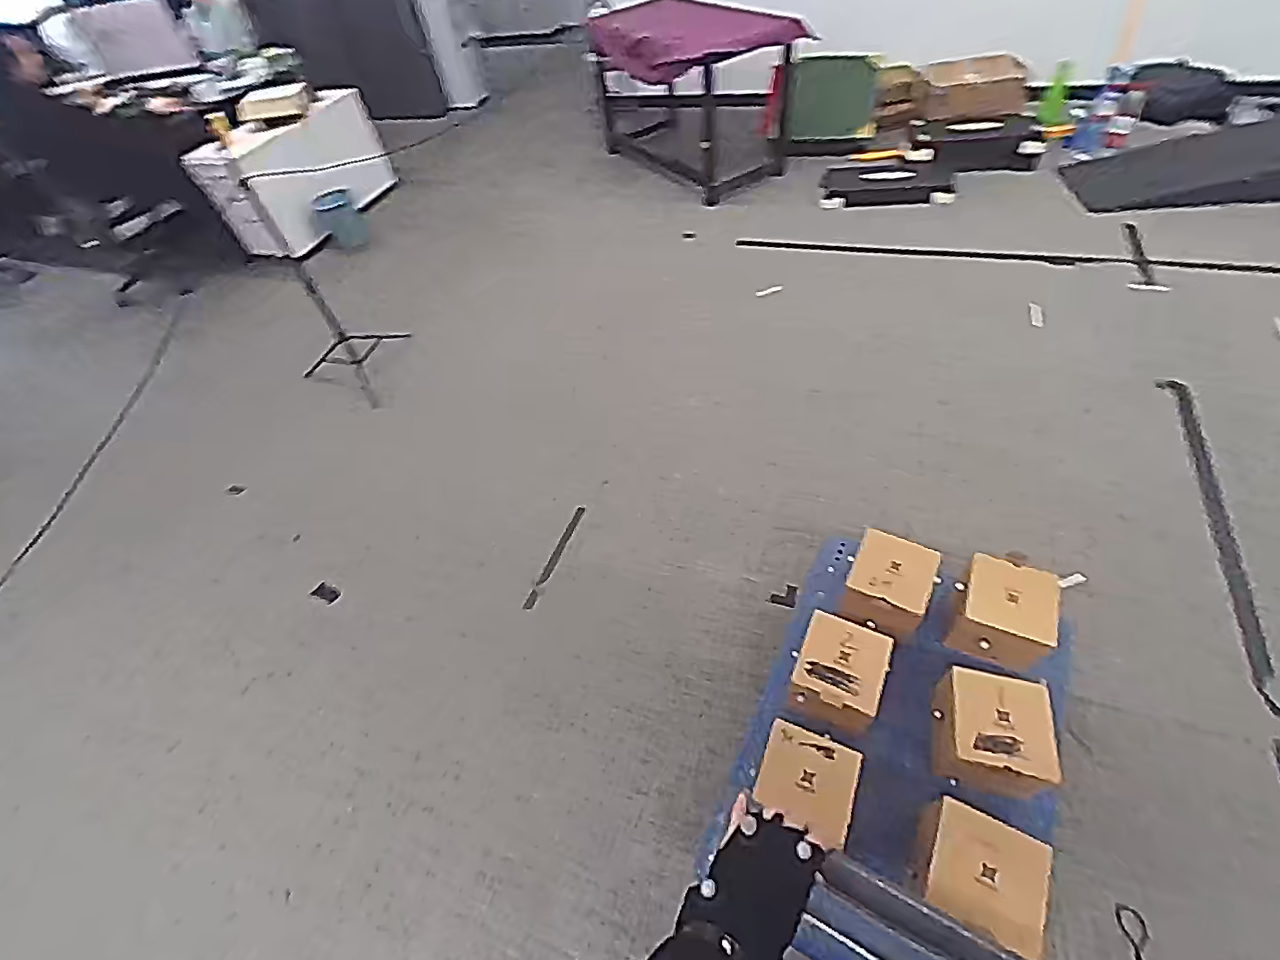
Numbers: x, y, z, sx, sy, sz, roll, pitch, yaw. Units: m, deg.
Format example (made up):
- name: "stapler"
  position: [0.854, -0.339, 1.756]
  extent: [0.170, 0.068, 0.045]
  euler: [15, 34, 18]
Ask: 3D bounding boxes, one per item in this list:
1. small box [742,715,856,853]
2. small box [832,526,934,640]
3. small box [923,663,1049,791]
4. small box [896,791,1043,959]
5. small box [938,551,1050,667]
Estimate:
- name: "small box"
  position: [0.304, 0.597, 1.056]
  extent: [0.168, 0.176, 0.179]
  euler: [17, 57, 20]
- name: "small box"
  position: [0.573, 0.248, 1.290]
  extent: [0.168, 0.176, 0.179]
  euler: [21, 58, 24]
- name: "small box"
  position: [0.678, 0.497, 1.080]
  extent: [0.168, 0.176, 0.179]
  euler: [9, 53, 16]
- name: "small box"
  position: [0.566, 0.688, 0.947]
  extent: [0.168, 0.176, 0.179]
  euler: [21, 57, 22]
- name: "small box"
  position: [0.793, 0.296, 1.223]
  extent: [0.168, 0.176, 0.179]
  euler: [17, 56, 21]
